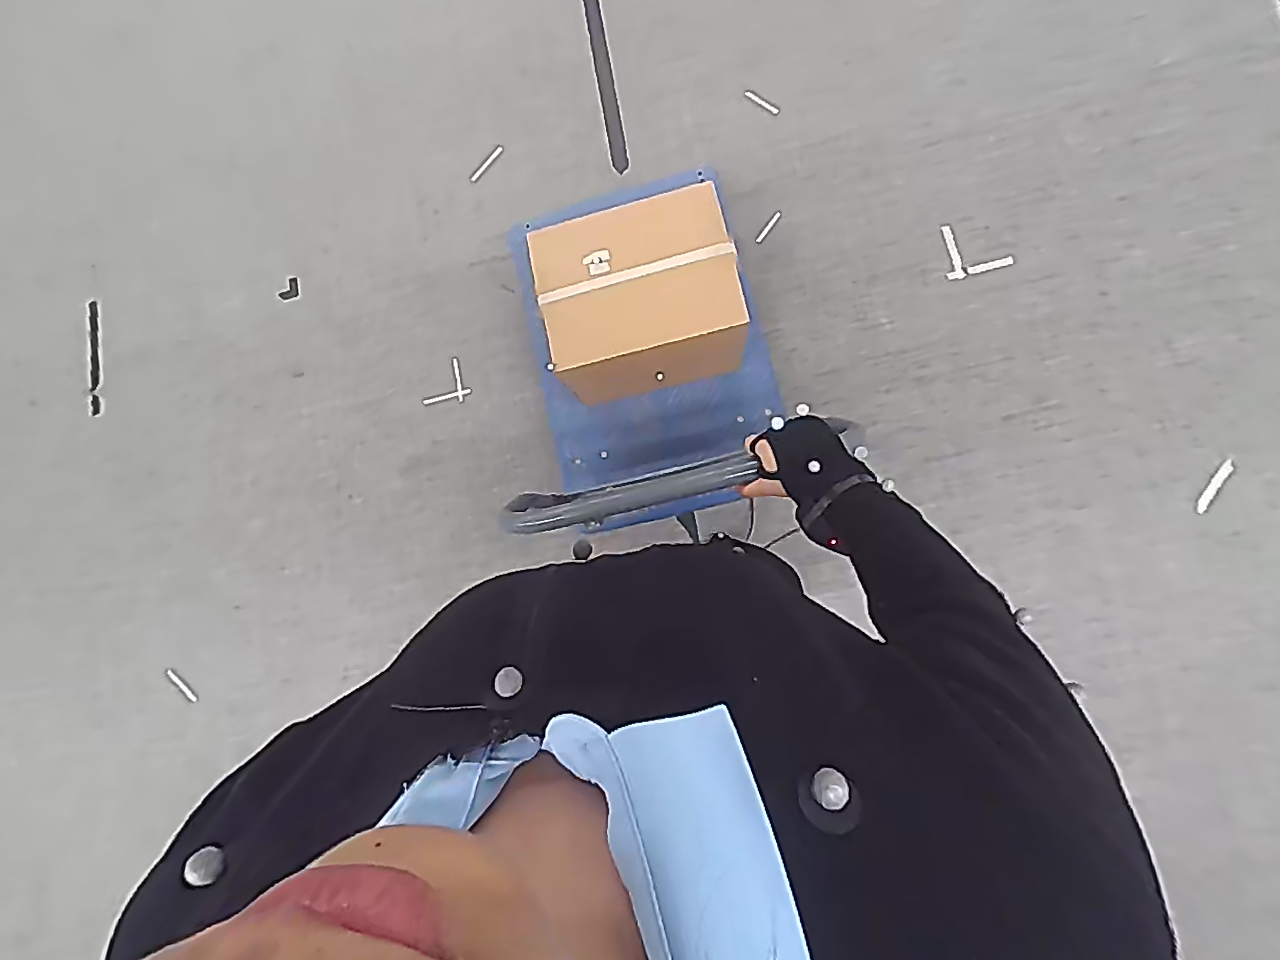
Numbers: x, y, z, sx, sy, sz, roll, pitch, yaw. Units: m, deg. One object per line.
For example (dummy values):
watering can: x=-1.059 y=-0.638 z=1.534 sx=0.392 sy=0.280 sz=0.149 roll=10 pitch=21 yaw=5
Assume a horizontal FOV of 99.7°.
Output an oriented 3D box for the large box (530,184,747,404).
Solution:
large box: x=0.010 y=-0.402 z=1.258 sx=0.408 sy=0.320 sz=0.320 roll=-14 pitch=82 yaw=7
